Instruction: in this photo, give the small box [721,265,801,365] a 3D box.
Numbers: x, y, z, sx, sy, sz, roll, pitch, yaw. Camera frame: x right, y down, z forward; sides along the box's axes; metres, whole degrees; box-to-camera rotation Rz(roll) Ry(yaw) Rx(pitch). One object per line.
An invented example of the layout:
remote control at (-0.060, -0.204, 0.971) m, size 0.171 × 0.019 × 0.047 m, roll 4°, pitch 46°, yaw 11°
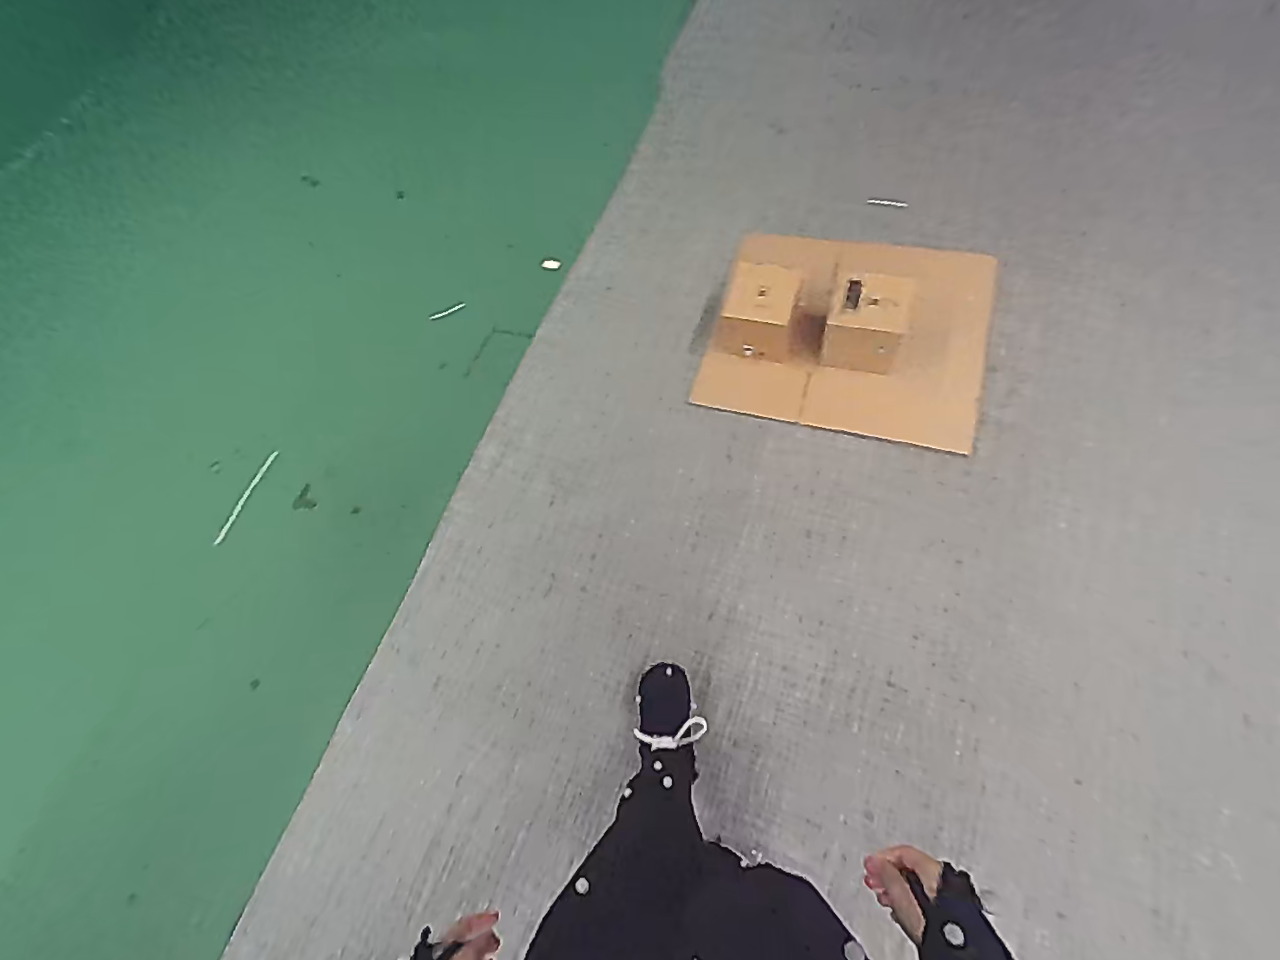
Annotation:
small box at (0.317, -0.431, 1.421) m, size 0.168 × 0.176 × 0.179 m, roll 13°, pitch 72°, yaw 17°
